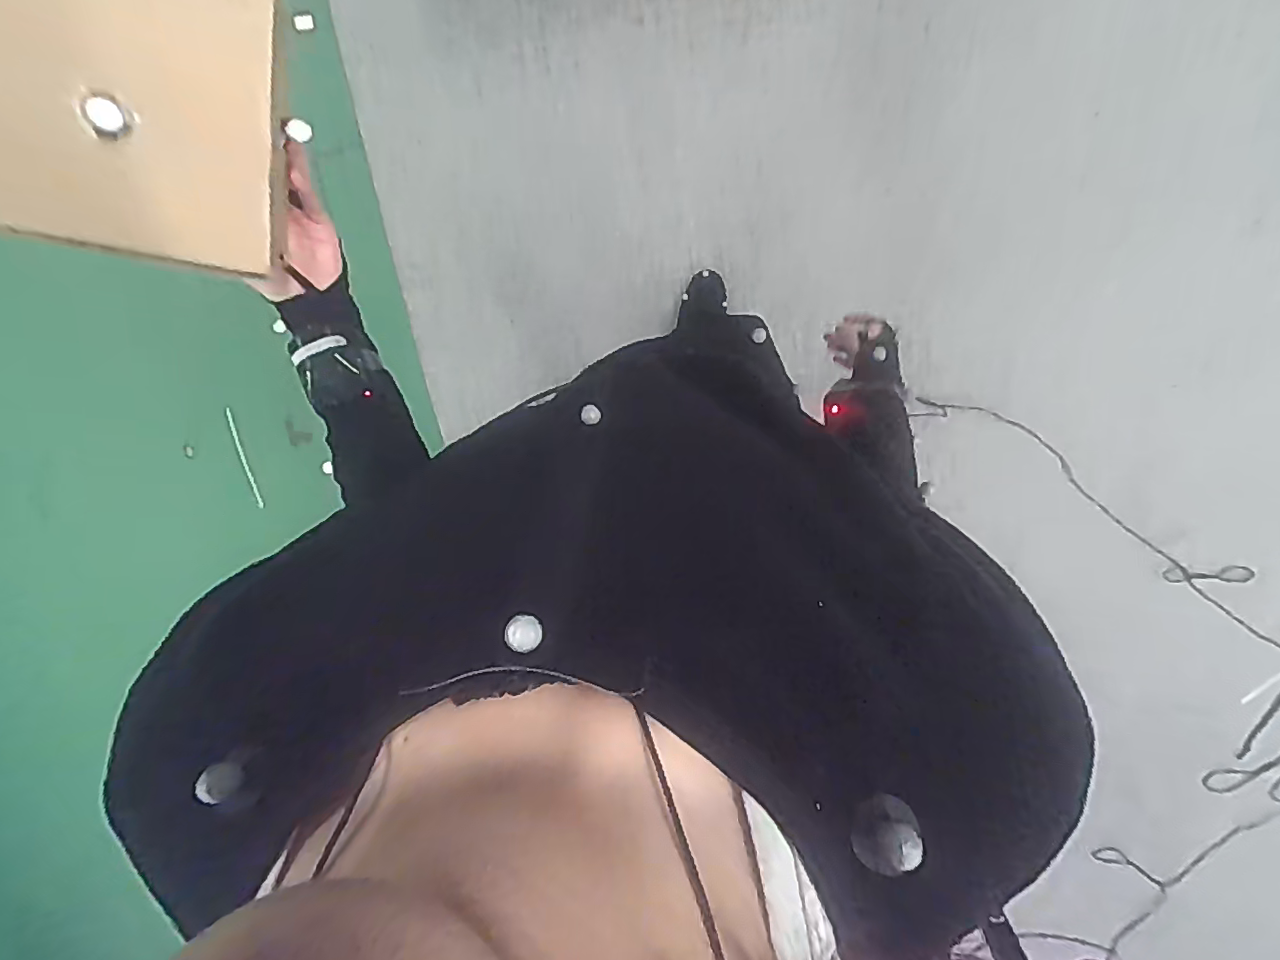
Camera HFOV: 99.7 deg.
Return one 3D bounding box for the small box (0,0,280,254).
[{"bbox_3d":[-0.319,-0.249,0.316,0.179,0.168,0.176,2,114,-32],"label":"small box"}]
